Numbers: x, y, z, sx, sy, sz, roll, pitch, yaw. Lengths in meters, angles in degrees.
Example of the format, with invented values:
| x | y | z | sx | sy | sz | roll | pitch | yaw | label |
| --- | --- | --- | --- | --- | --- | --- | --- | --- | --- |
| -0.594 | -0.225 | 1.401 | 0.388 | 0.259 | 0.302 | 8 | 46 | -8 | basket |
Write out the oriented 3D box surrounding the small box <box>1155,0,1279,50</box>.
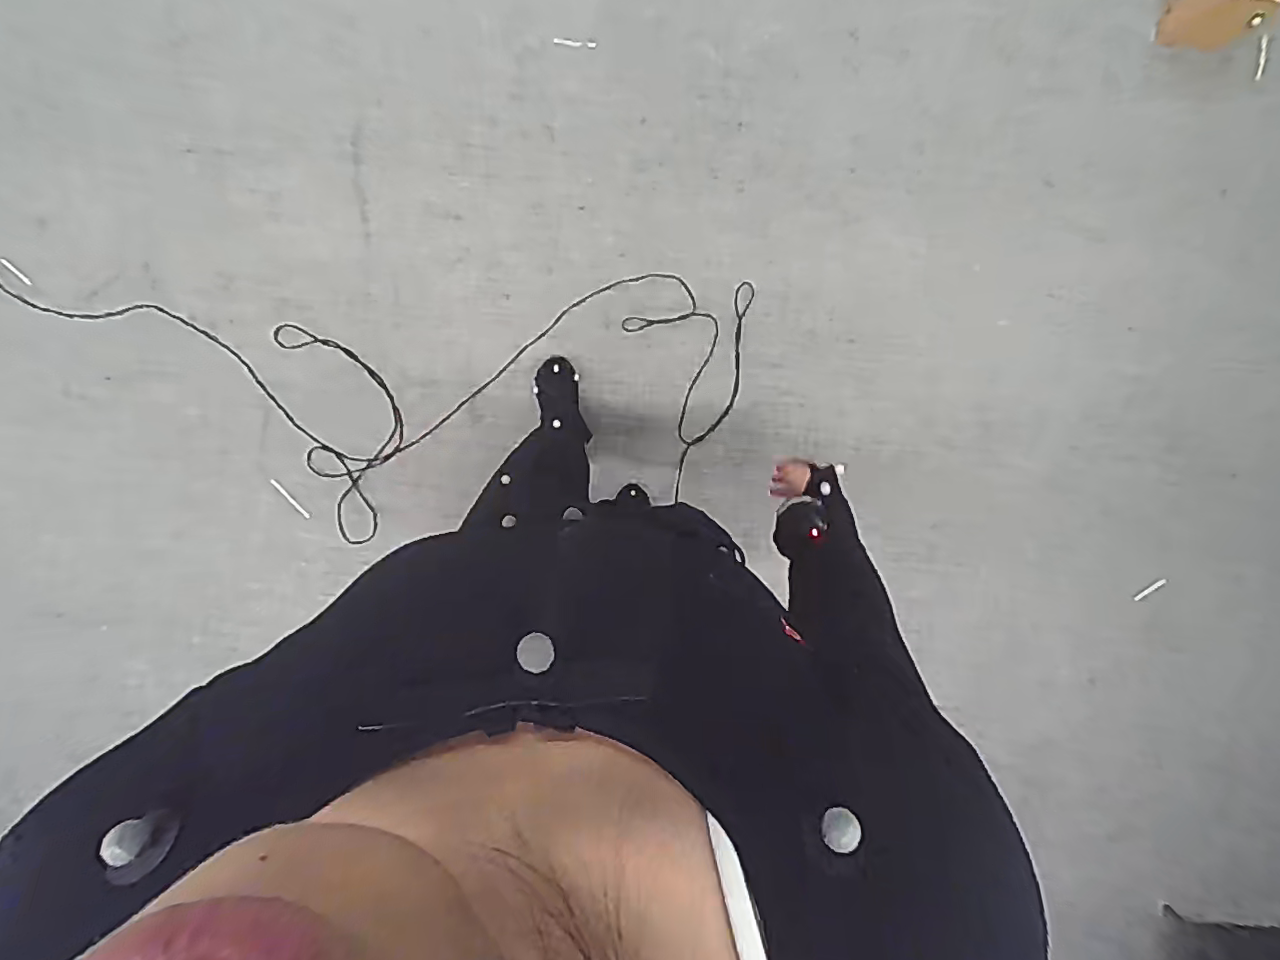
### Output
| x | y | z | sx | sy | sz | roll | pitch | yaw | label |
| --- | --- | --- | --- | --- | --- | --- | --- | --- | --- |
| 1.405 | -1.174 | 1.288 | 0.179 | 0.176 | 0.168 | 9 | 95 | -2 | small box |
